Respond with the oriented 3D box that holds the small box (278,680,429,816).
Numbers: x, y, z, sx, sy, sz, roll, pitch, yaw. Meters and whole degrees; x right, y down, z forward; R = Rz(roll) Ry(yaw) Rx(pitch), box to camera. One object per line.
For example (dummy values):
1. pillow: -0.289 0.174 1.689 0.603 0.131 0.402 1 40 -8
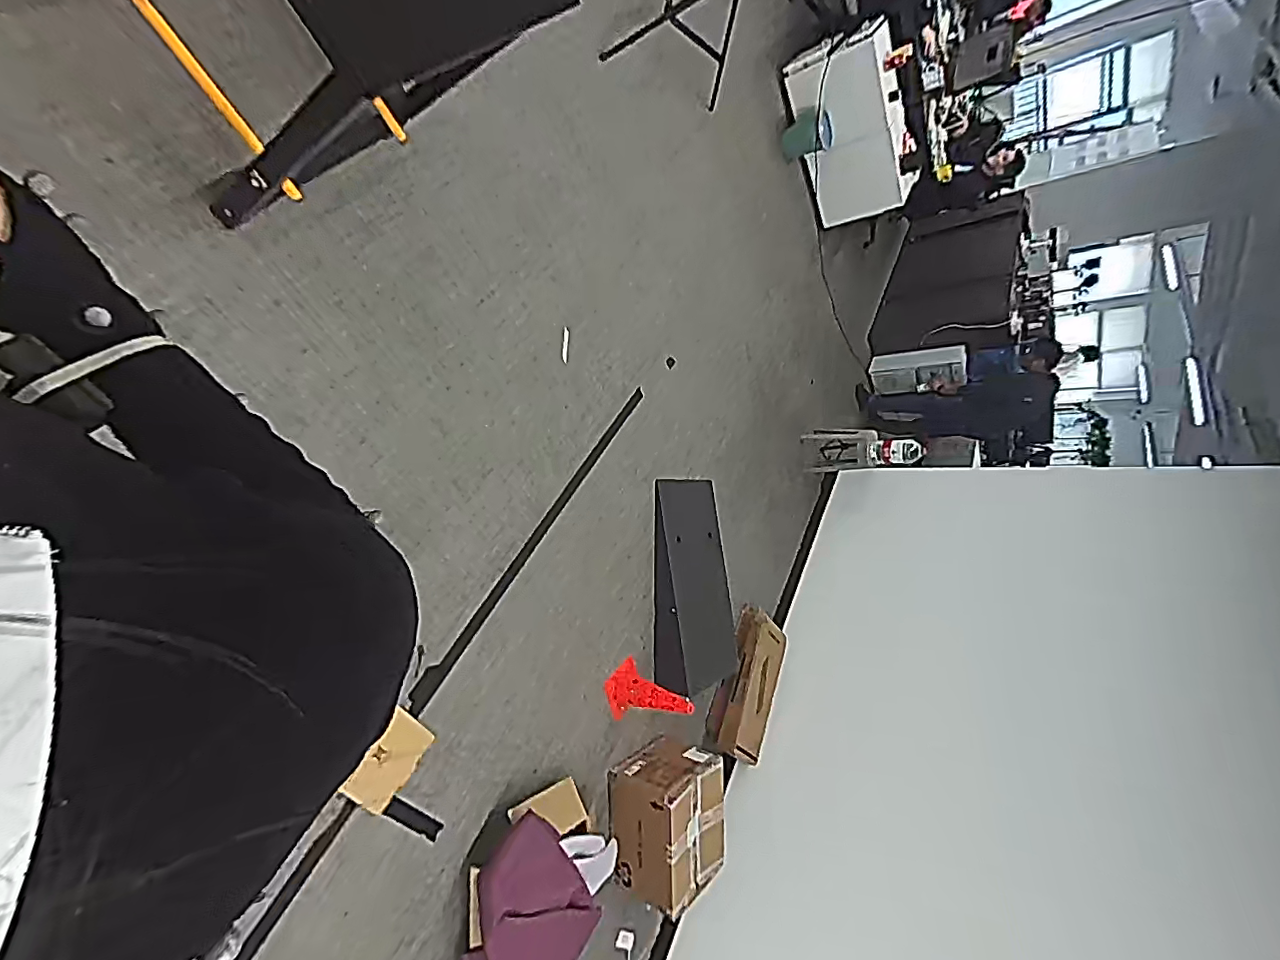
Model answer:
1. small box: -0.575 0.529 1.090 0.168 0.176 0.179 -55 130 -36
